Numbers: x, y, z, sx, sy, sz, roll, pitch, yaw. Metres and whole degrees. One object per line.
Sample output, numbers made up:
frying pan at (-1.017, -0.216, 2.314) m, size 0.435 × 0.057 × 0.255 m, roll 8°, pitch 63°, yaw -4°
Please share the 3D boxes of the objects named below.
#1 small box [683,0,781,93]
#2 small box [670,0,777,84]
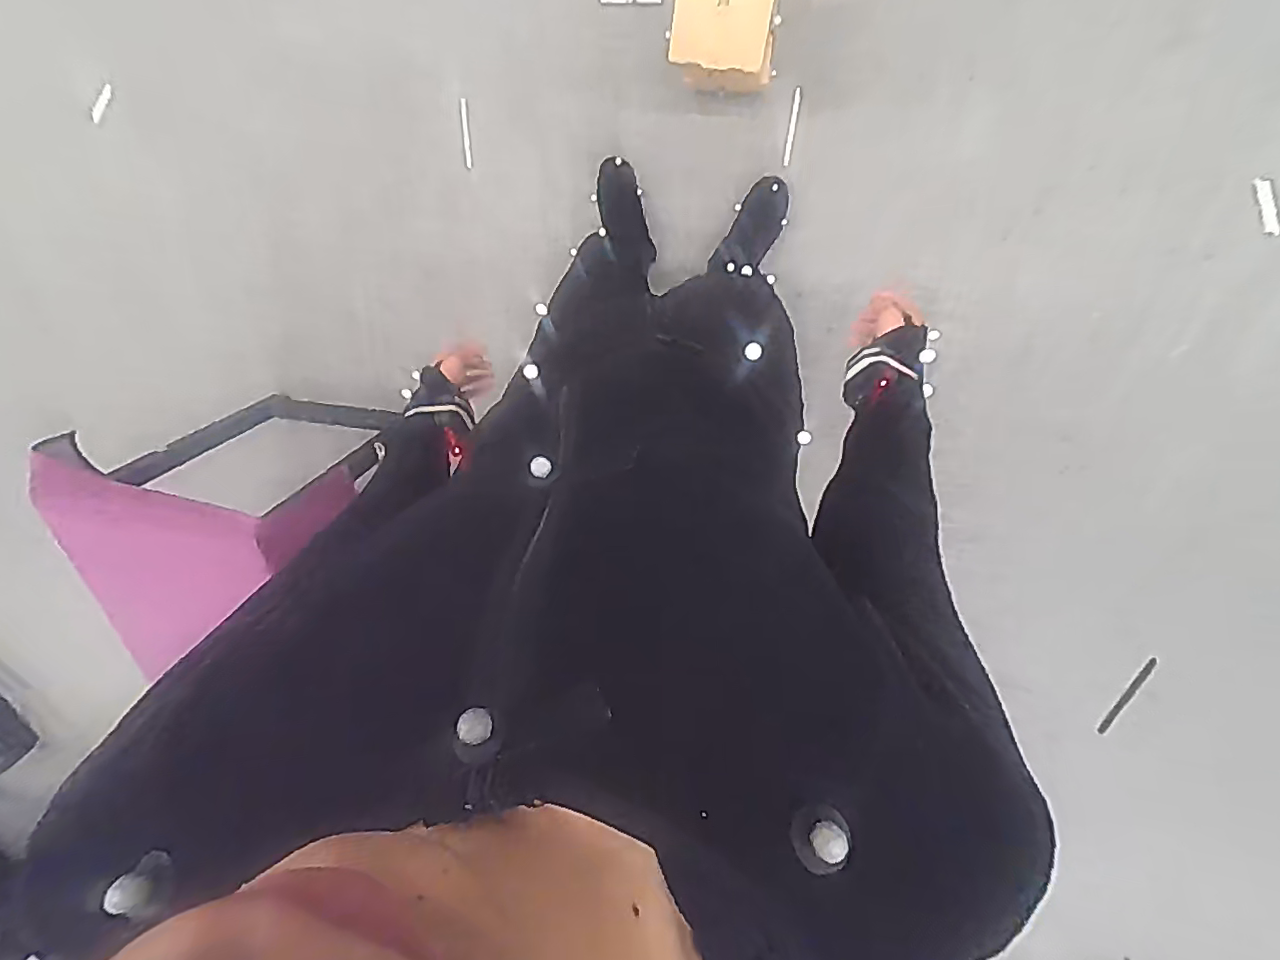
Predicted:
small box at (0.190, -0.908, 1.113) m, size 0.179 × 0.176 × 0.168 m, roll 8°, pitch 122°, yaw 9°
small box at (0.156, -0.836, 0.970) m, size 0.168 × 0.176 × 0.179 m, roll 11°, pitch 123°, yaw 5°
